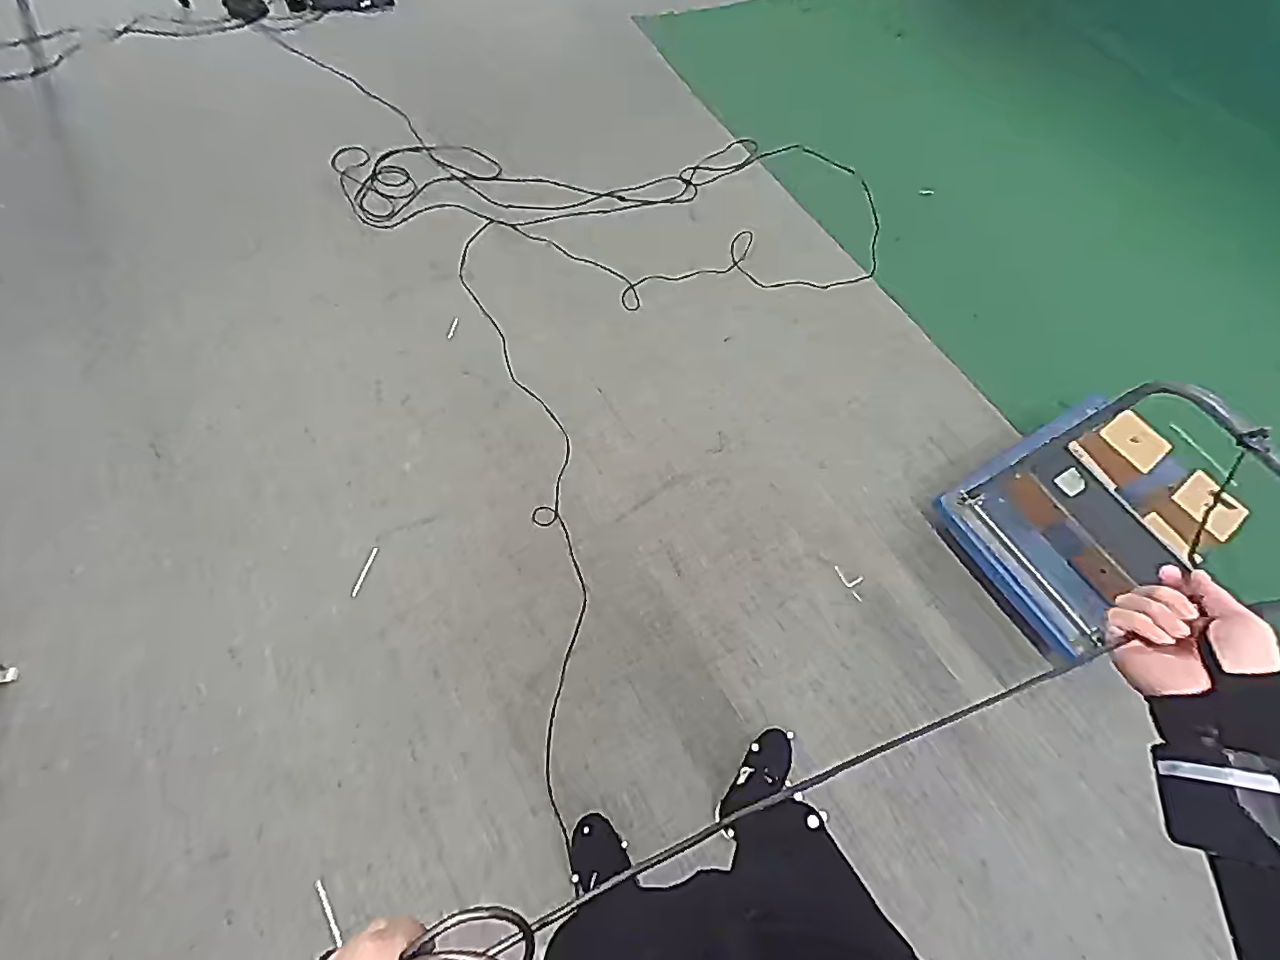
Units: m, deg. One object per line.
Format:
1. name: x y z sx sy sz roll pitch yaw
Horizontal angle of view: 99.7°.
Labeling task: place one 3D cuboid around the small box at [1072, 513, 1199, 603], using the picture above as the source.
1. small box: 1.385 0.223 1.525 0.179 0.176 0.168 -26 70 -18

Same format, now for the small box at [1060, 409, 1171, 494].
1. small box: 1.469 -0.083 1.687 0.179 0.176 0.168 -30 72 -20

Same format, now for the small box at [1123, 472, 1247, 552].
1. small box: 1.614 0.109 1.613 0.179 0.176 0.168 -30 71 -19
